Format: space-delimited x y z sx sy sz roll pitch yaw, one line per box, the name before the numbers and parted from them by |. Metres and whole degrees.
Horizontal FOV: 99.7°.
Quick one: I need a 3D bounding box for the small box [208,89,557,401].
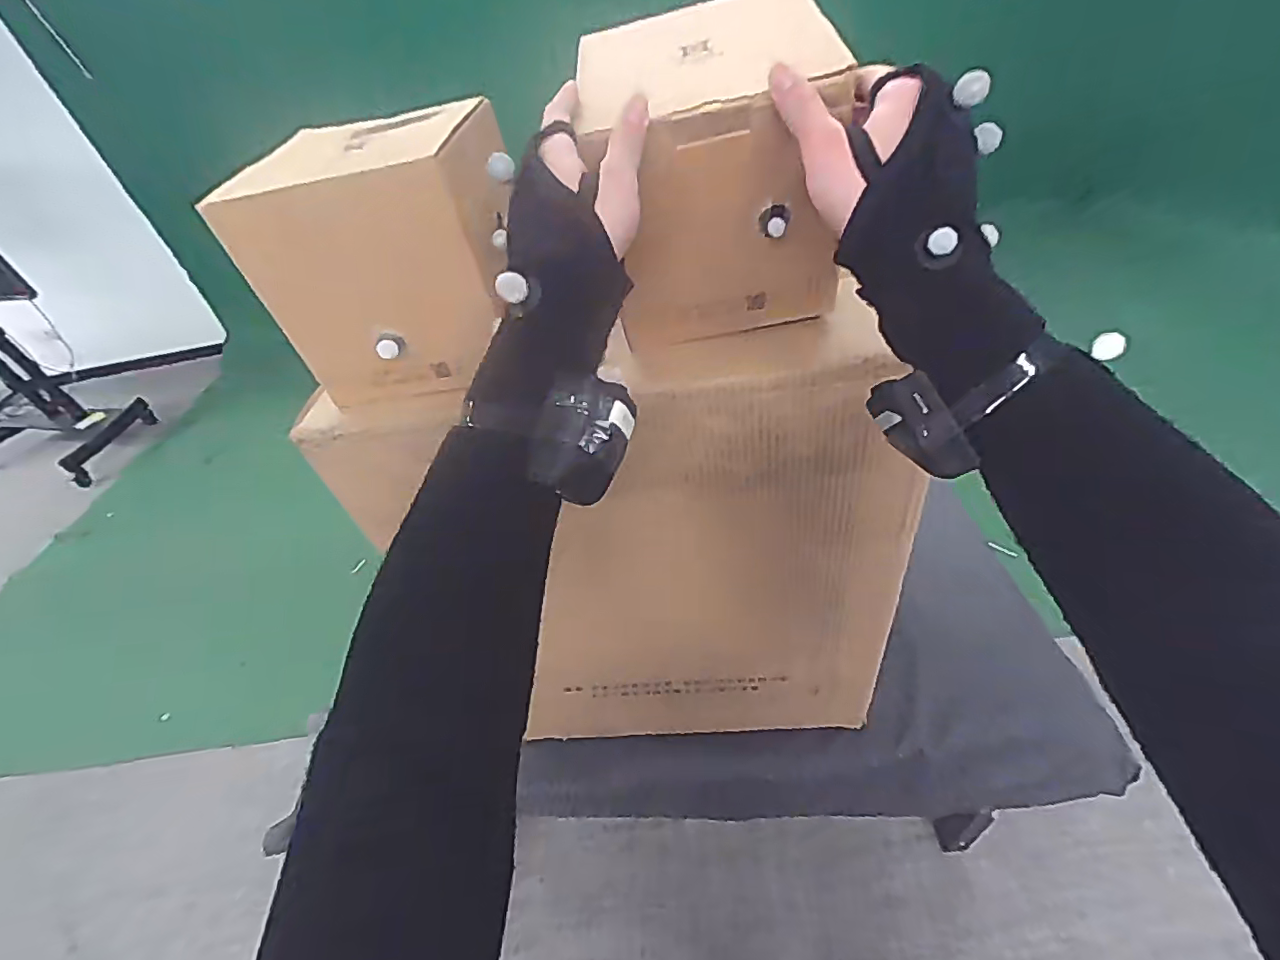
small box | -0.174 -0.187 0.438 0.168 0.176 0.179 -6 45 8
